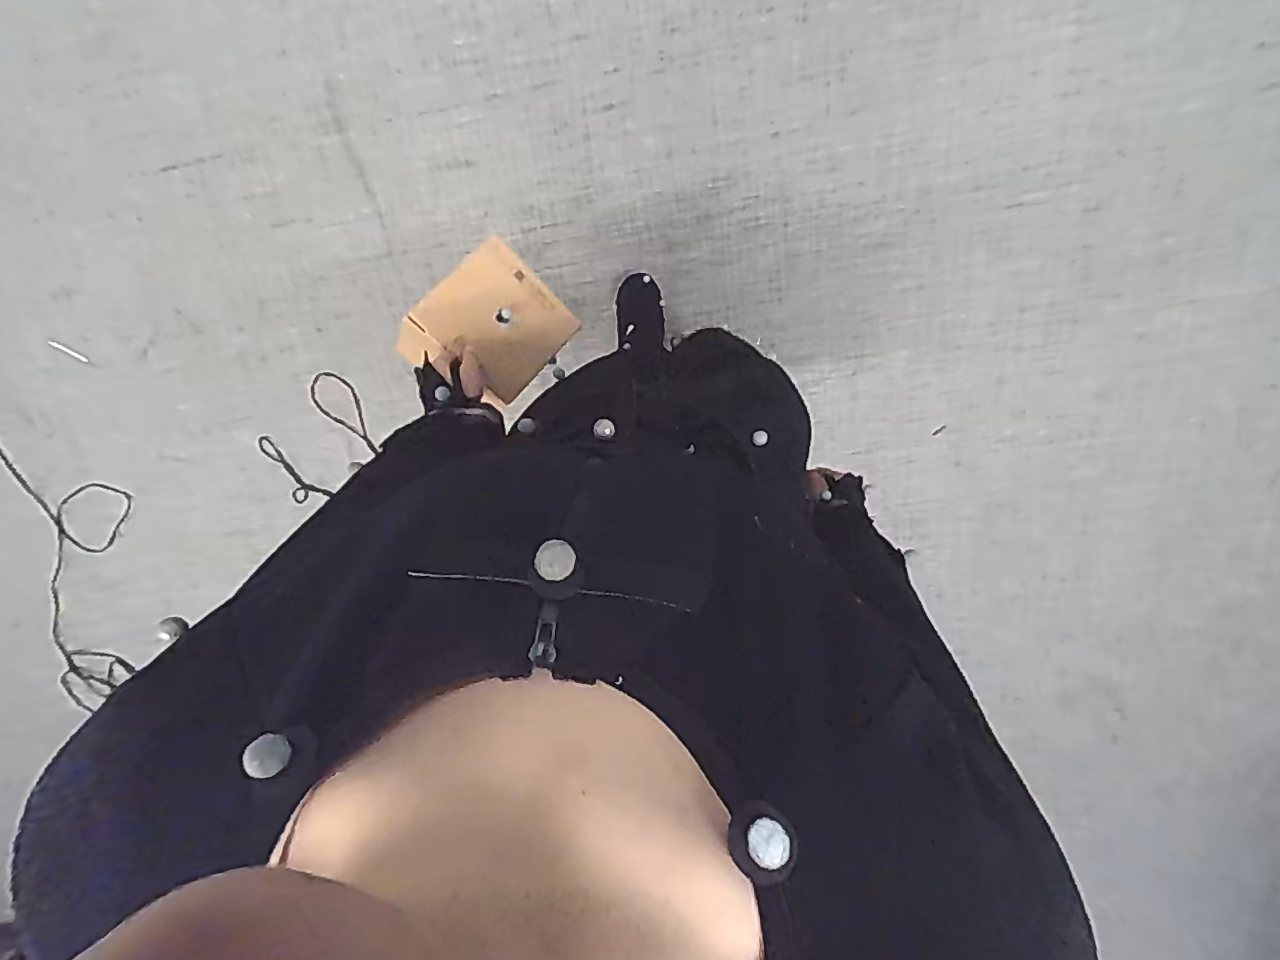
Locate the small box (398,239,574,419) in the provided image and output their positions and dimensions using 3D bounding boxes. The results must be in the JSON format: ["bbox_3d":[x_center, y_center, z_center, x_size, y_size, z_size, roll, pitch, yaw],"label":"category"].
[{"bbox_3d":[-0.221,-0.213,0.789,0.168,0.179,0.176,43,70,-21],"label":"small box"}]
